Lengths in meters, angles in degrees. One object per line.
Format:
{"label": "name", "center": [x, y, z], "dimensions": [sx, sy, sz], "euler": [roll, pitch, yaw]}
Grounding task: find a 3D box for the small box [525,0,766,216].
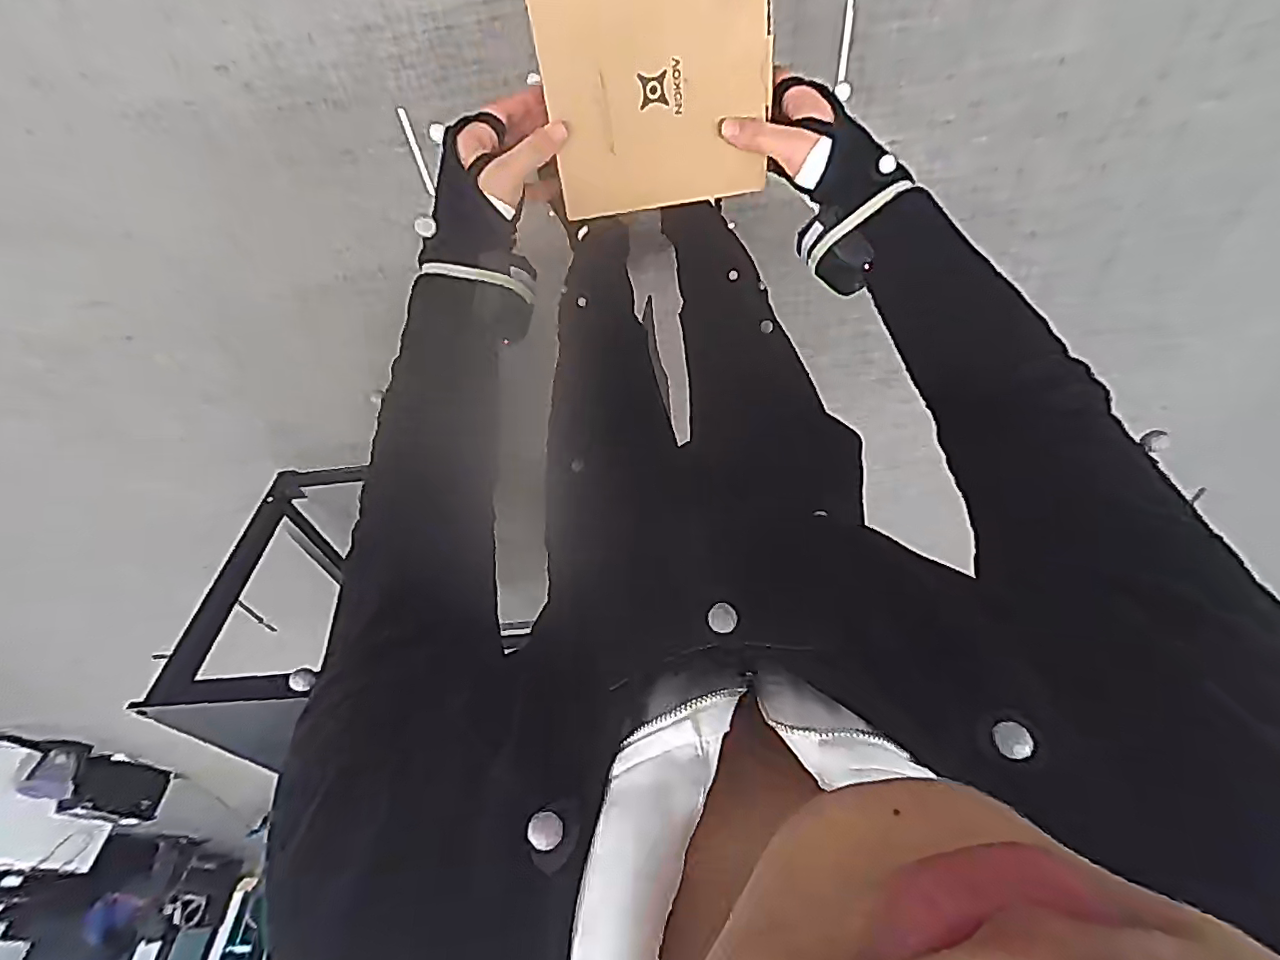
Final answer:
{"label": "small box", "center": [0.003, -0.355, 0.482], "dimensions": [0.179, 0.176, 0.168], "euler": [-10, 128, 1]}
